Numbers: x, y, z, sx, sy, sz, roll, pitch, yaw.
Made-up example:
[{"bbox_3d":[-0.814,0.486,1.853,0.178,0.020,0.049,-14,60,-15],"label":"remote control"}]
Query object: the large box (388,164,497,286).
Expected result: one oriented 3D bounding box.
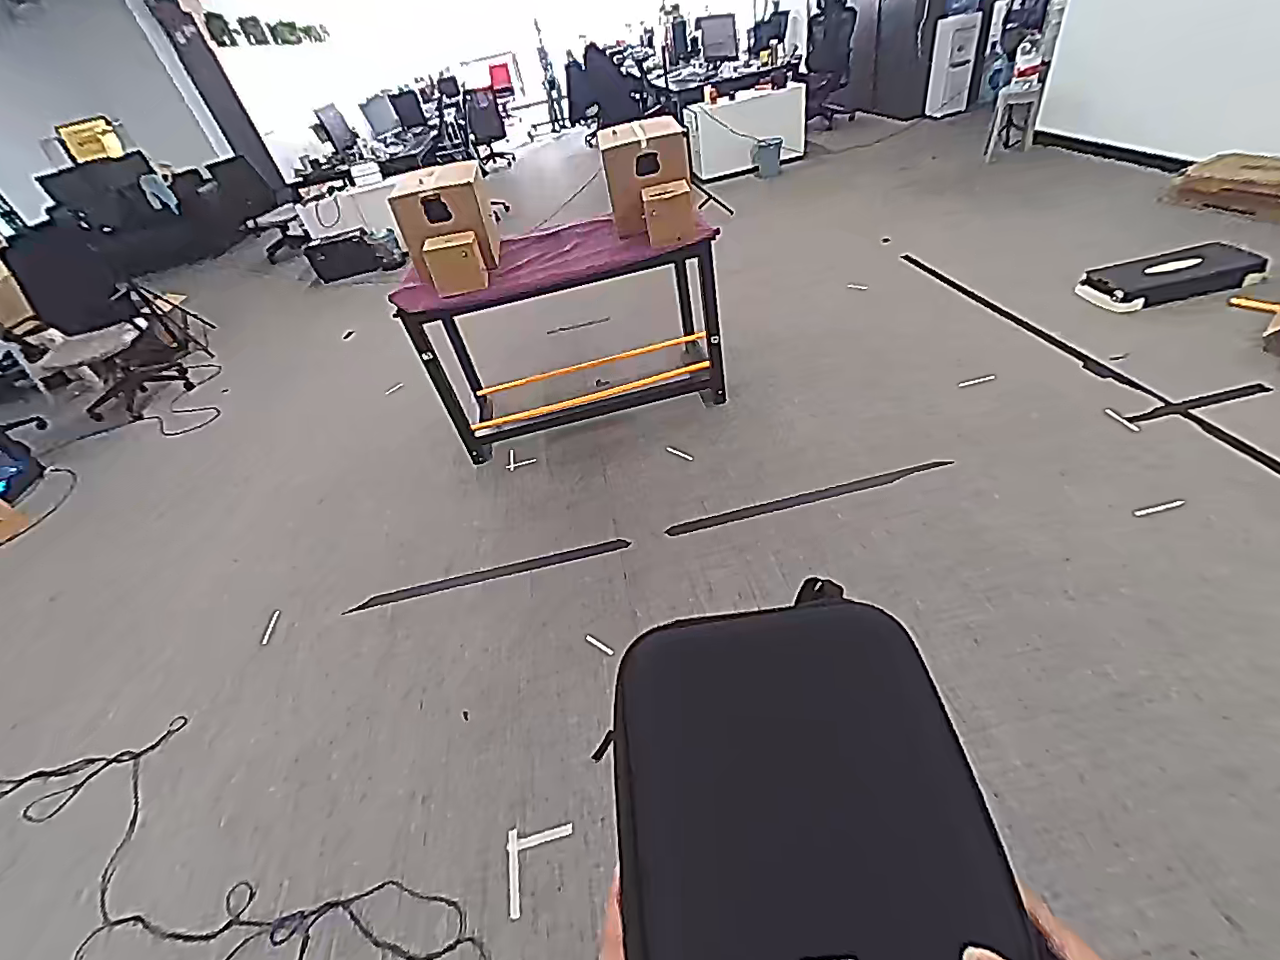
[{"bbox_3d":[-0.772,-1.032,2.178,0.320,0.320,0.408,-14,43,-2],"label":"large box"}]
